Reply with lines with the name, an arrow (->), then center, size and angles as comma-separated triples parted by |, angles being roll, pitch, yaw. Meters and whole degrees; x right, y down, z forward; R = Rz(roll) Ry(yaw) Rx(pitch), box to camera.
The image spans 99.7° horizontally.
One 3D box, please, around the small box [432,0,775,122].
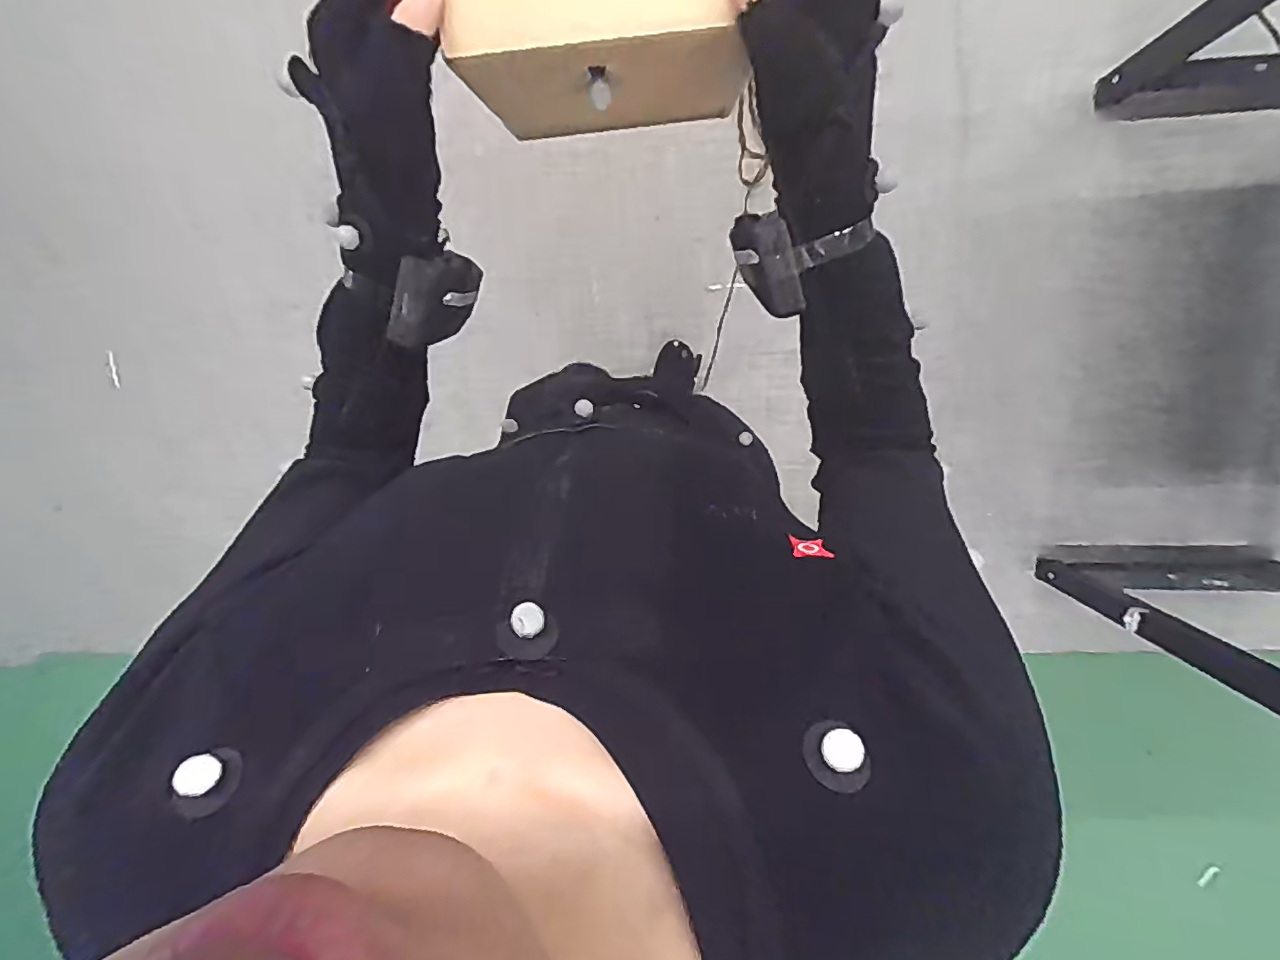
small box -> -0.022, -0.334, 0.321 | 0.179, 0.176, 0.168 | -4, 111, 4
